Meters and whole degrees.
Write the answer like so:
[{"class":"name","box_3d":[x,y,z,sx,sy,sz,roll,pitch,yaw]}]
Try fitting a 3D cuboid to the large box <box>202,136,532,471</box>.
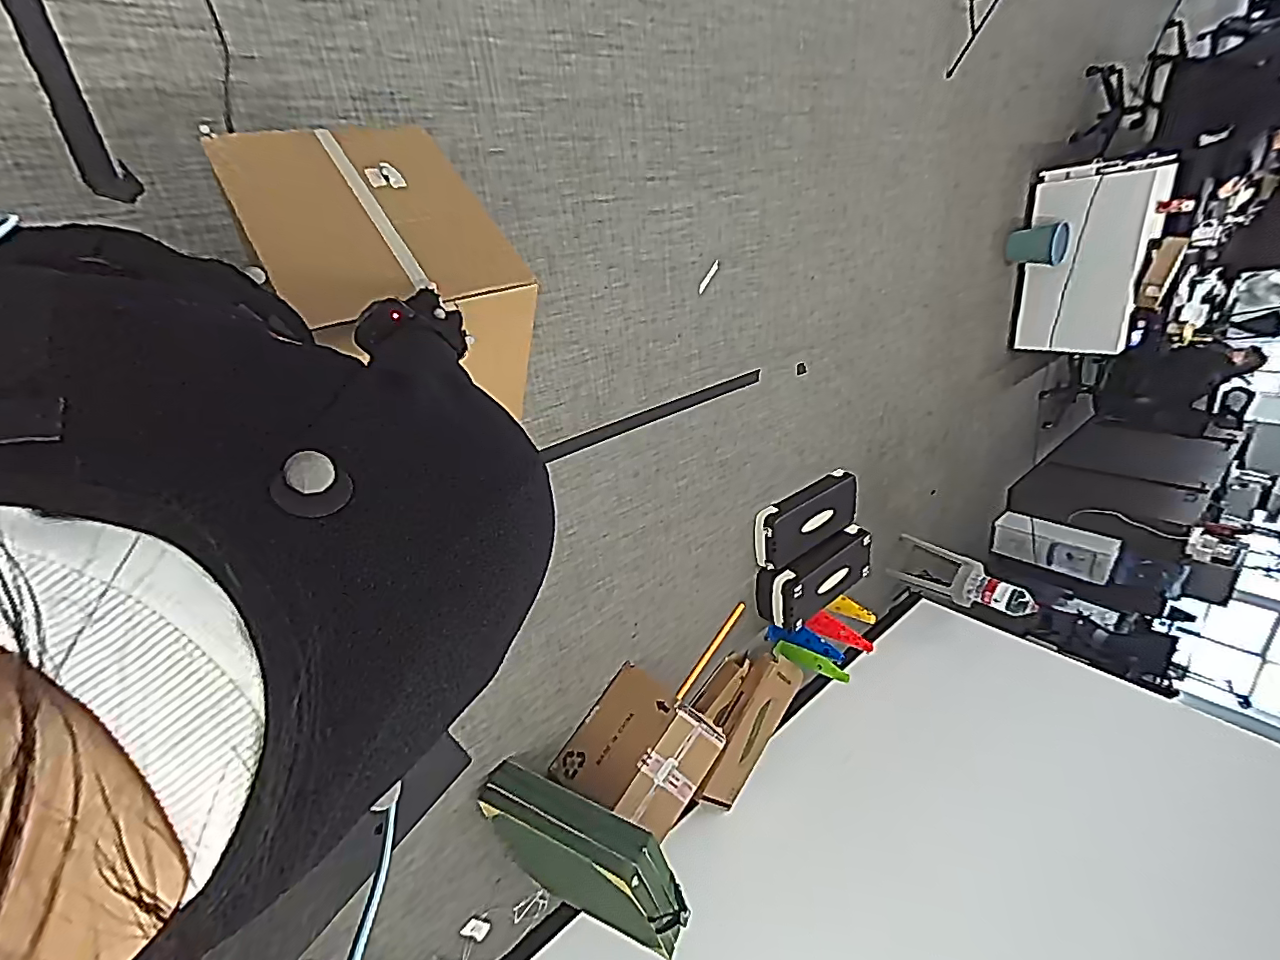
[{"class":"large box","box_3d":[-0.423,-0.293,0.892,0.320,0.408,0.320,-25,158,-31]}]
